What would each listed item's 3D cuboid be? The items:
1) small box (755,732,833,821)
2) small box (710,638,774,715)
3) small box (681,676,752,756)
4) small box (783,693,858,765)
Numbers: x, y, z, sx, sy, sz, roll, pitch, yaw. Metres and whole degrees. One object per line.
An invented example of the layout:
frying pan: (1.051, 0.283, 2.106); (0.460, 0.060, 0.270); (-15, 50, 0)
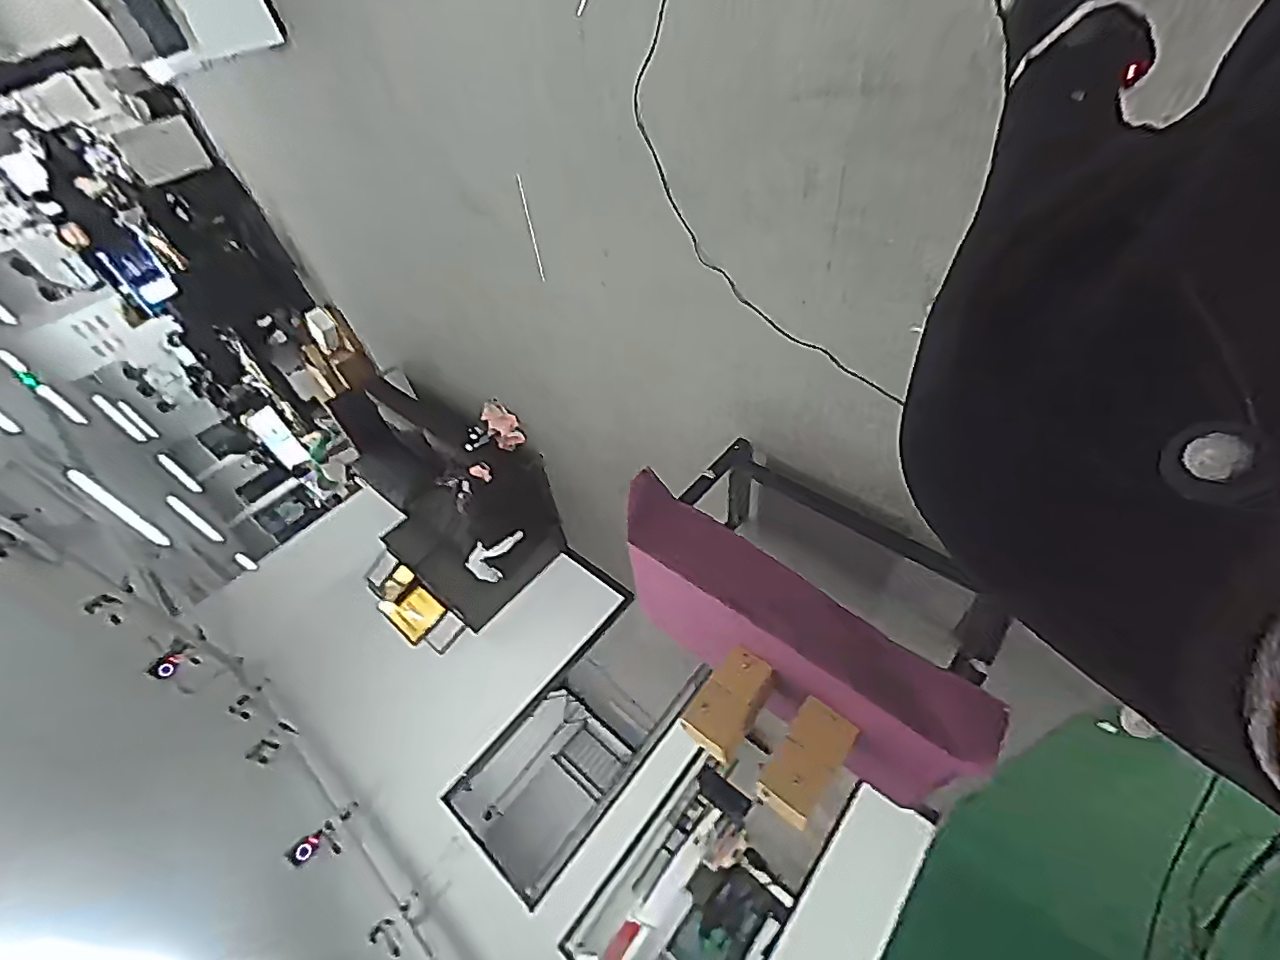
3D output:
small box: (0.490, 0.941, 1.734); (0.179, 0.176, 0.168); (29, 148, 30)
small box: (0.374, 0.715, 1.961); (0.168, 0.176, 0.179); (25, 146, 35)
small box: (0.270, 0.814, 1.884); (0.179, 0.176, 0.168); (26, 148, 34)
small box: (0.598, 0.841, 1.807); (0.179, 0.176, 0.168); (30, 149, 31)
